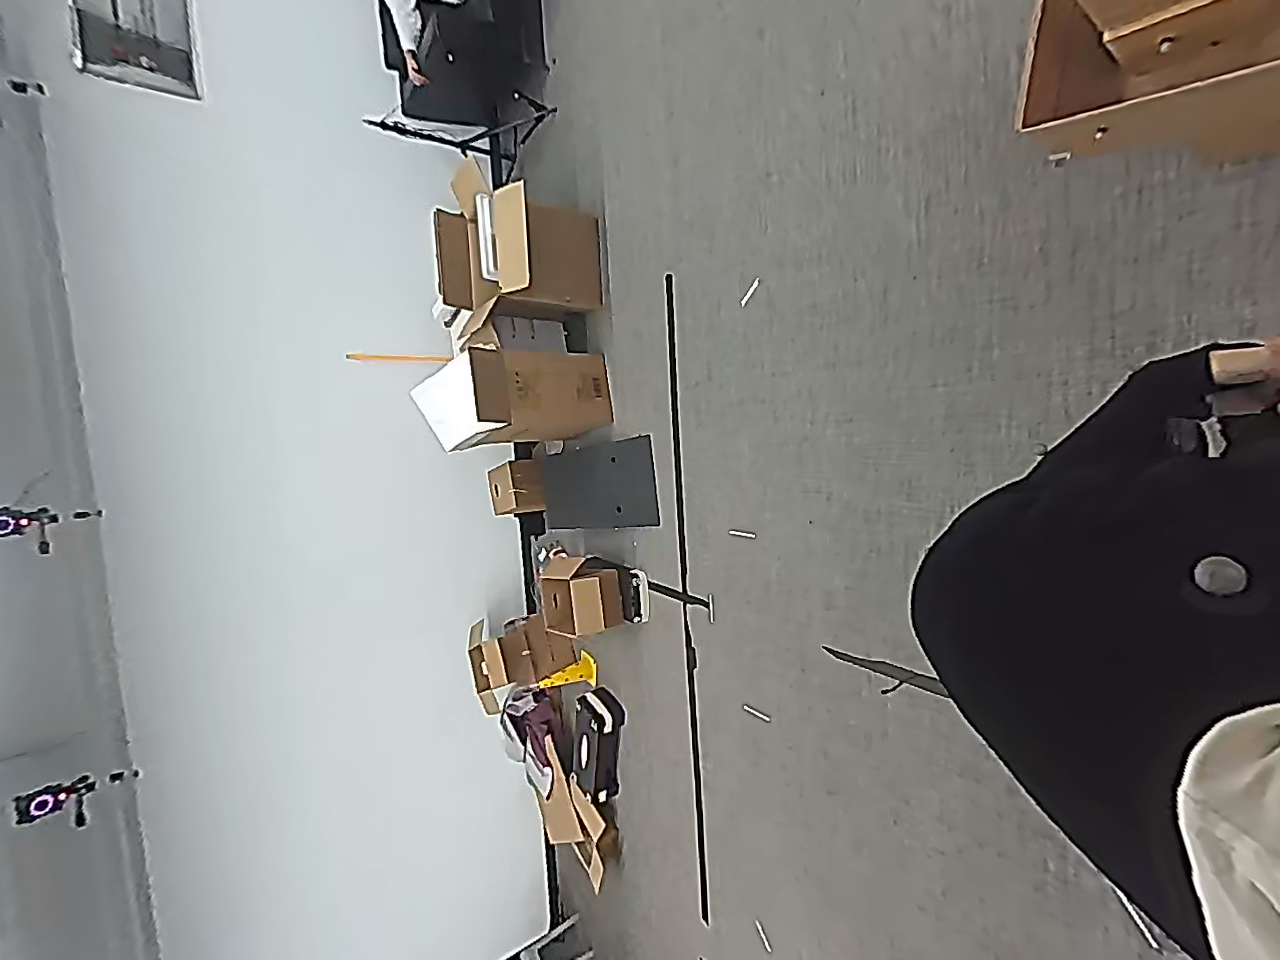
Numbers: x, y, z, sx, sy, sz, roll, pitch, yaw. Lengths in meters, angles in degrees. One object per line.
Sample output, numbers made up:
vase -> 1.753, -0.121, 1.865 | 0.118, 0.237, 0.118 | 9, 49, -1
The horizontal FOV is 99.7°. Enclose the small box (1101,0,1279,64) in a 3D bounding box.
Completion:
small box -> 0.813, -0.746, 0.785 | 0.168, 0.176, 0.179 | 16, 107, 52

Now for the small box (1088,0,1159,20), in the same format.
small box -> 0.683, -0.739, 0.685 | 0.179, 0.176, 0.168 | 18, 109, 51
